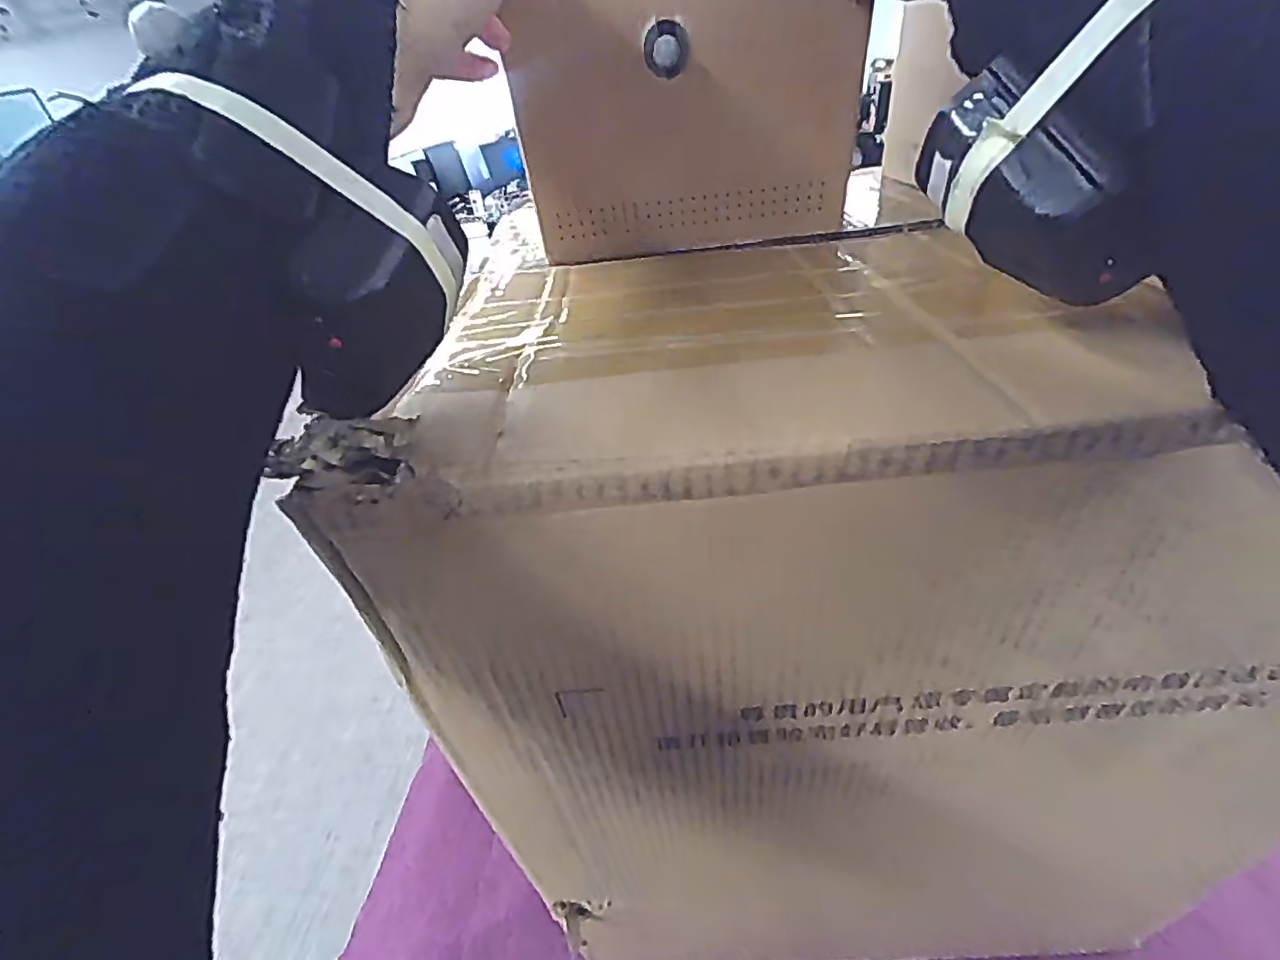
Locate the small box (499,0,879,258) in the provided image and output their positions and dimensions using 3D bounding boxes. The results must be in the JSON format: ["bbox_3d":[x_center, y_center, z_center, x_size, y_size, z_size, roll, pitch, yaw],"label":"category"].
[{"bbox_3d":[0.028,-0.248,0.317,0.179,0.176,0.168,-4,43,5],"label":"small box"}]
